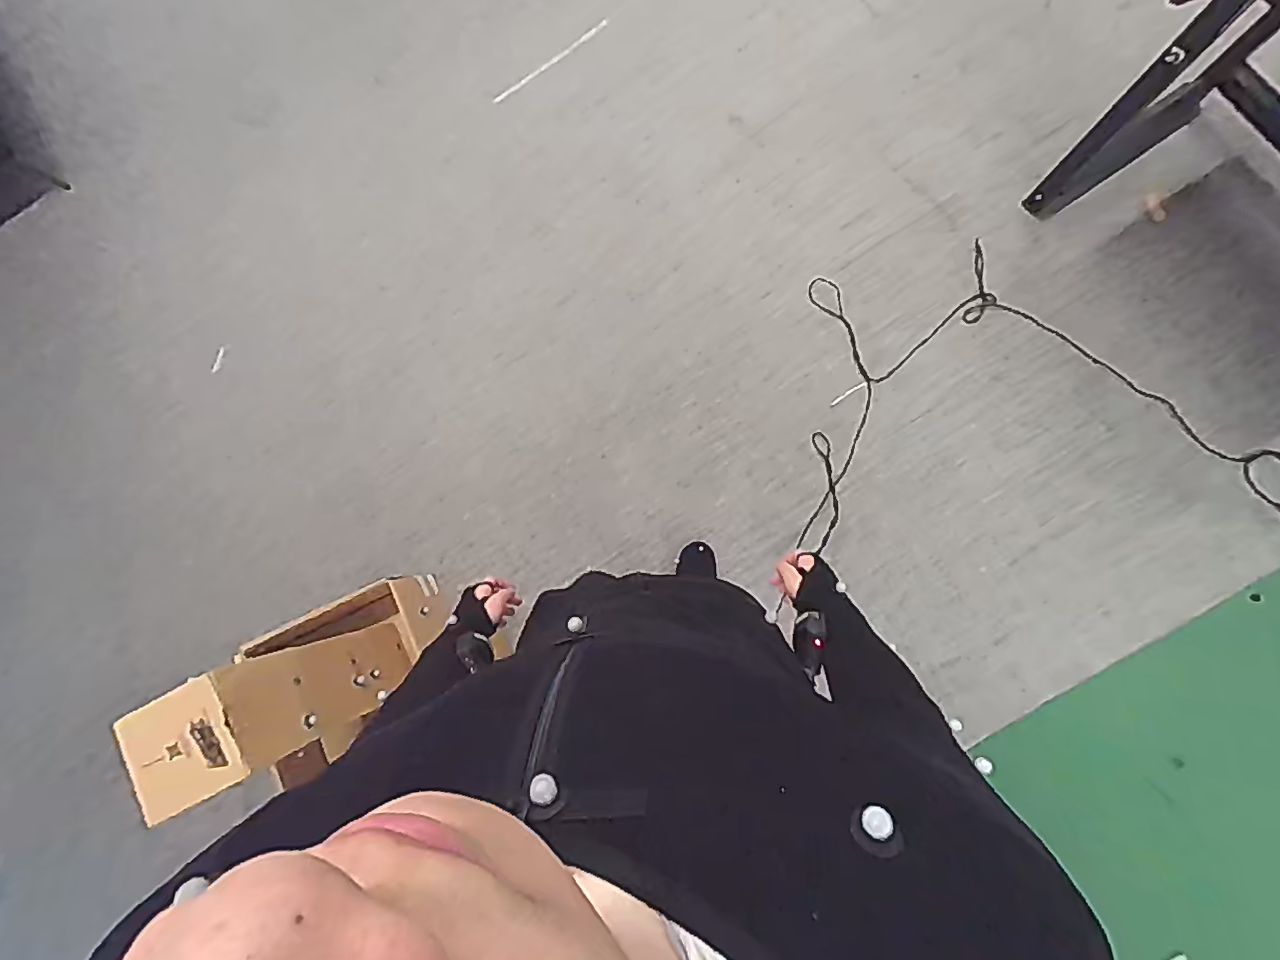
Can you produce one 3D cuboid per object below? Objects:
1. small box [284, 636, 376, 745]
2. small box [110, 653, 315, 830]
[{"bbox_3d":[-0.645,0.416,1.021,0.179,0.176,0.168,-27,83,2],"label":"small box"},{"bbox_3d":[-0.658,0.398,0.859,0.179,0.176,0.168,-28,83,4],"label":"small box"}]
